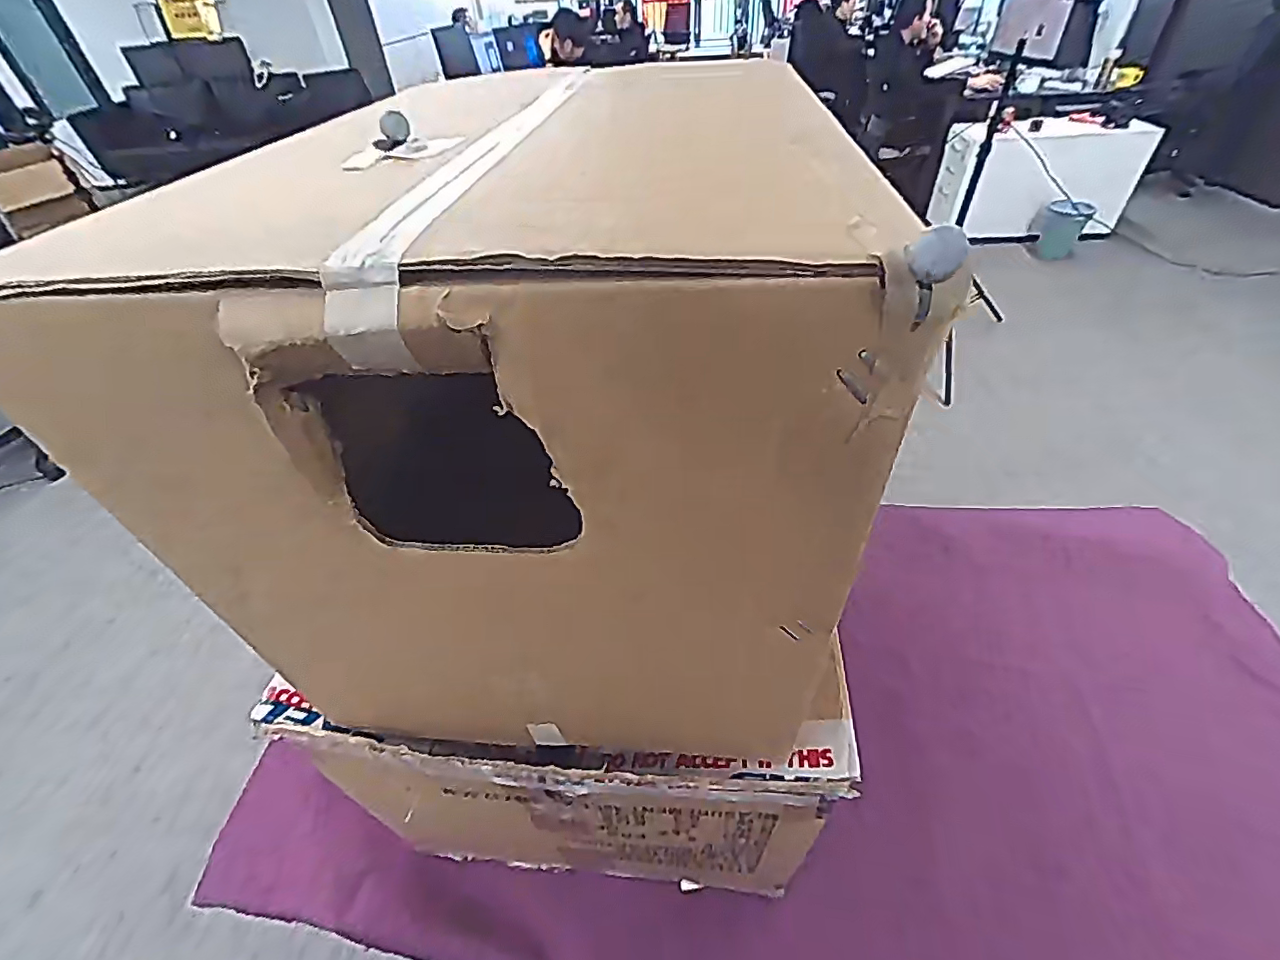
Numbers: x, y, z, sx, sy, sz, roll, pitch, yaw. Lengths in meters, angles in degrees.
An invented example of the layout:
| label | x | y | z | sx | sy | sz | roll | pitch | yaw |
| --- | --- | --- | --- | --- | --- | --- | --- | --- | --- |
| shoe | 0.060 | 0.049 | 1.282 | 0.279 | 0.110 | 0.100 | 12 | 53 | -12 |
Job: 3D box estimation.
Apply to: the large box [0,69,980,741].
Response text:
| label | x | y | z | sx | sy | sz | roll | pitch | yaw |
| --- | --- | --- | --- | --- | --- | --- | --- | --- | --- |
| large box | -0.040 | -0.078 | 0.399 | 0.320 | 0.320 | 0.408 | -1 | 43 | 6 |
